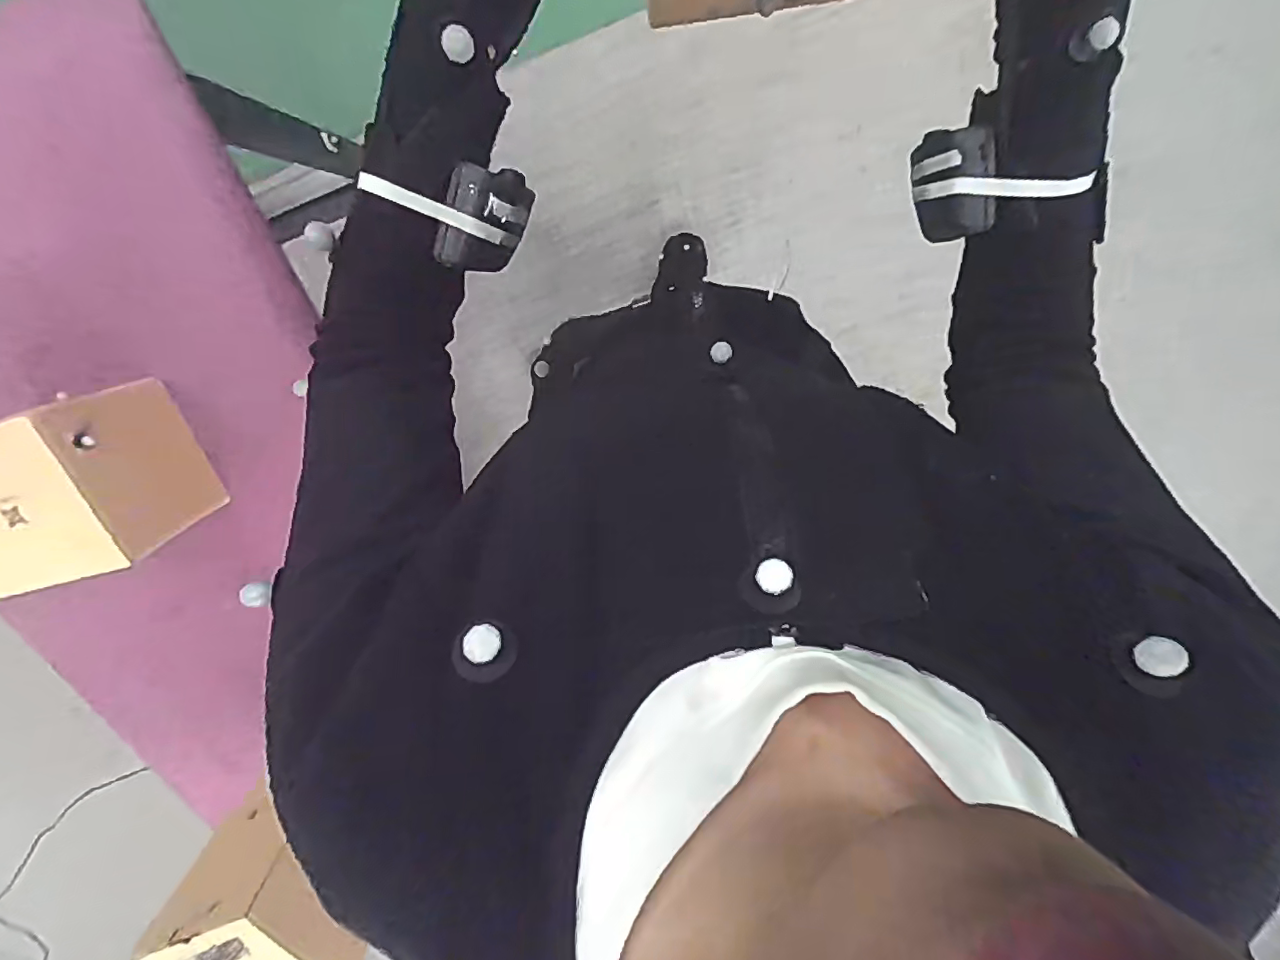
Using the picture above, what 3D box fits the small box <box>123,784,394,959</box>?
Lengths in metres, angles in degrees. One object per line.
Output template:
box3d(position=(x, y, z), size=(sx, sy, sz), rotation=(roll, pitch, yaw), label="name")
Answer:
box3d(position=(-0.447, 0.509, 0.669), size=(0.168, 0.176, 0.179), rotation=(-22, 111, 9), label="small box")

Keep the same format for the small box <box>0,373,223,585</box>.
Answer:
box3d(position=(-0.648, -0.009, 0.629), size=(0.168, 0.176, 0.179), rotation=(-13, 112, 4), label="small box")
